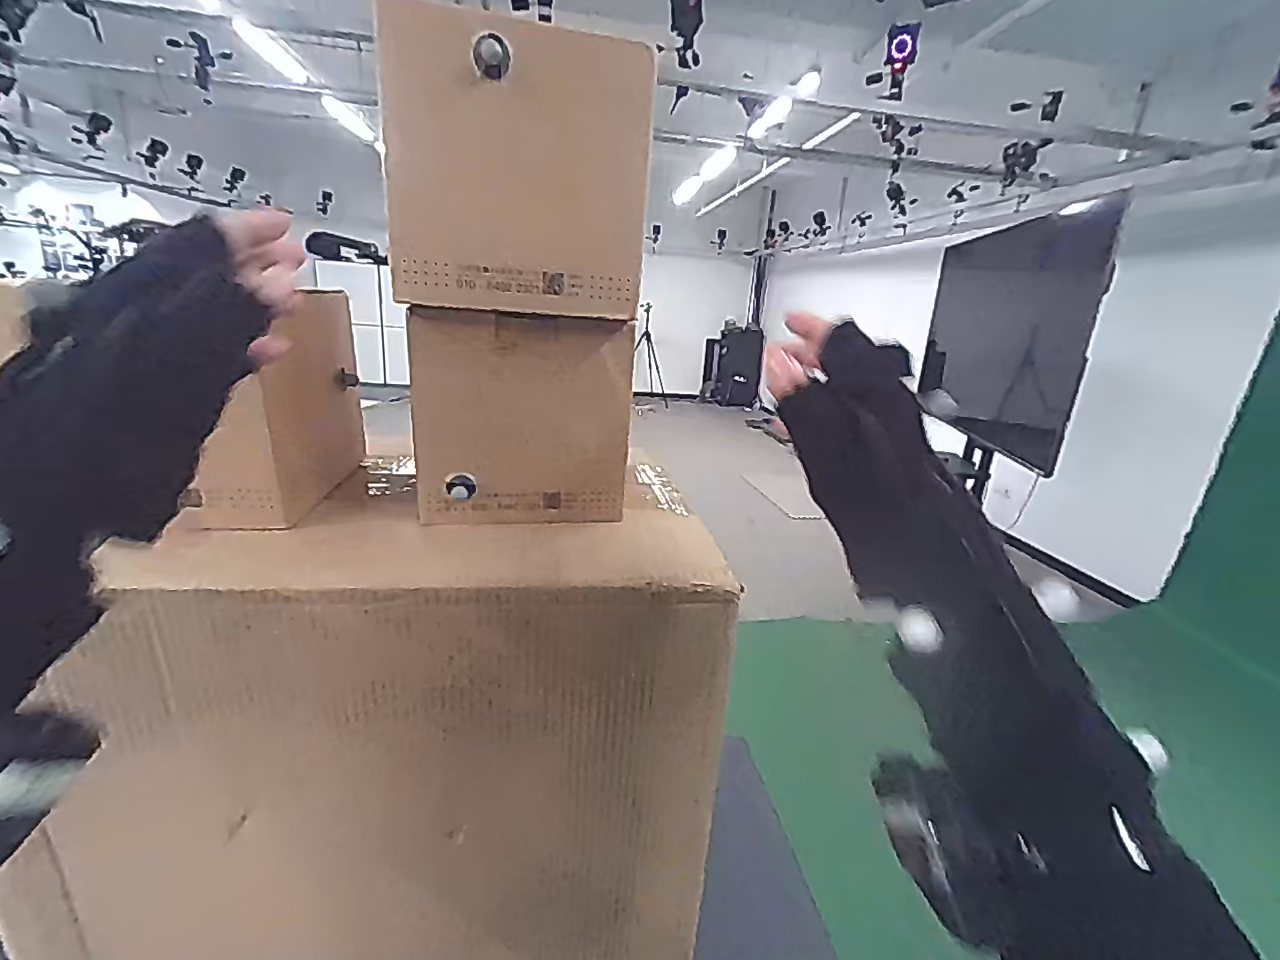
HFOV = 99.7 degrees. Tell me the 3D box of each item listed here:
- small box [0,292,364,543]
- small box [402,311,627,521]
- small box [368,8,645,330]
[{"bbox_3d":[-0.344,-0.060,0.444,0.168,0.176,0.179,-2,21,-9],"label":"small box"},{"bbox_3d":[-0.108,-0.067,0.495,0.168,0.176,0.179,-1,19,-13],"label":"small box"},{"bbox_3d":[-0.097,-0.214,0.423,0.168,0.176,0.179,-1,19,-11],"label":"small box"}]
